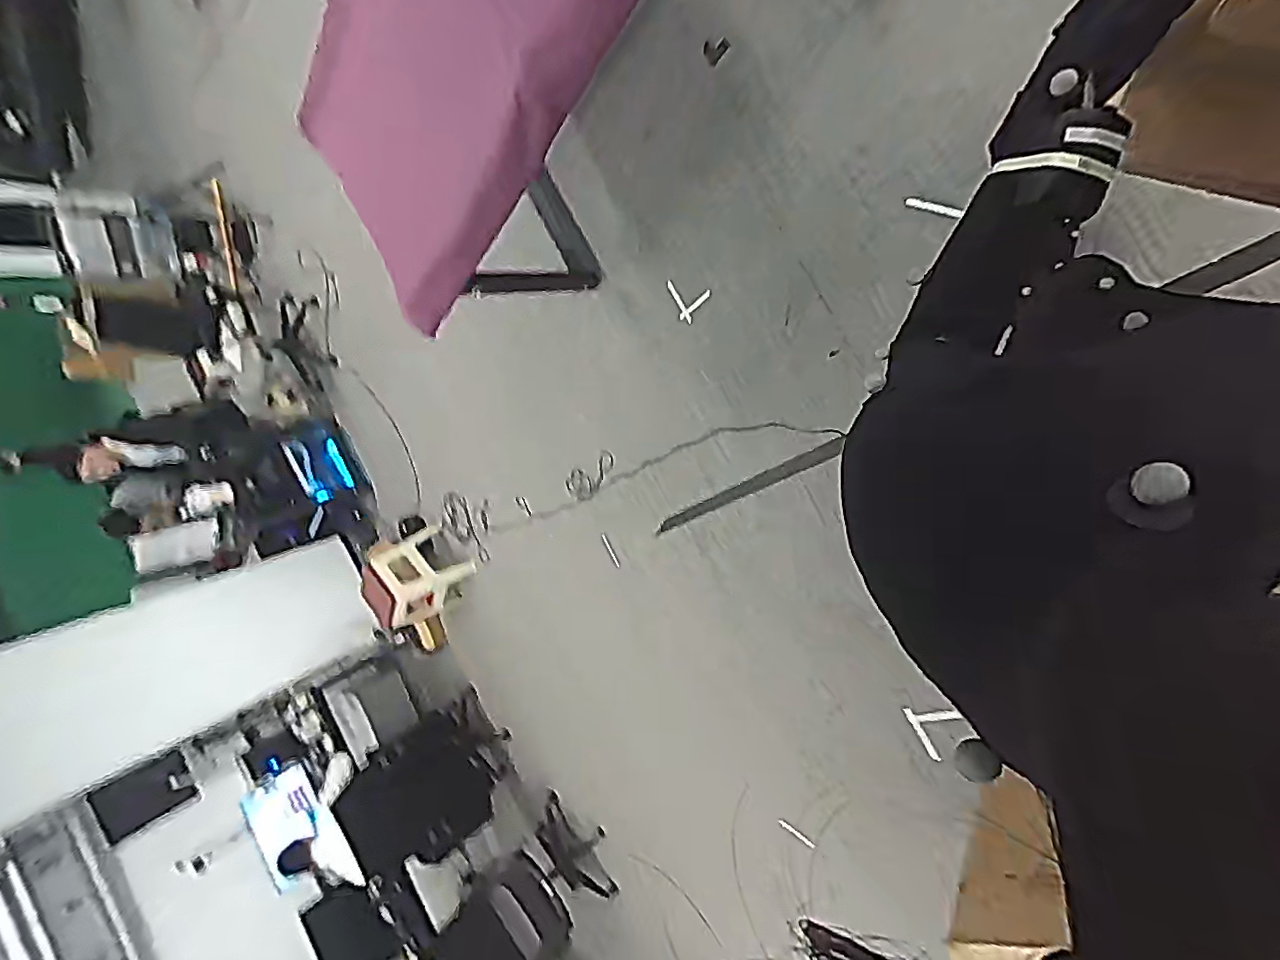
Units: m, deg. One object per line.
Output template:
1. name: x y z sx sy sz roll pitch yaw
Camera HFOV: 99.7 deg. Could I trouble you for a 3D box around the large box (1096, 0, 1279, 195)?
1. large box: 0.644 -0.370 0.386 0.408 0.320 0.320 30 129 25
